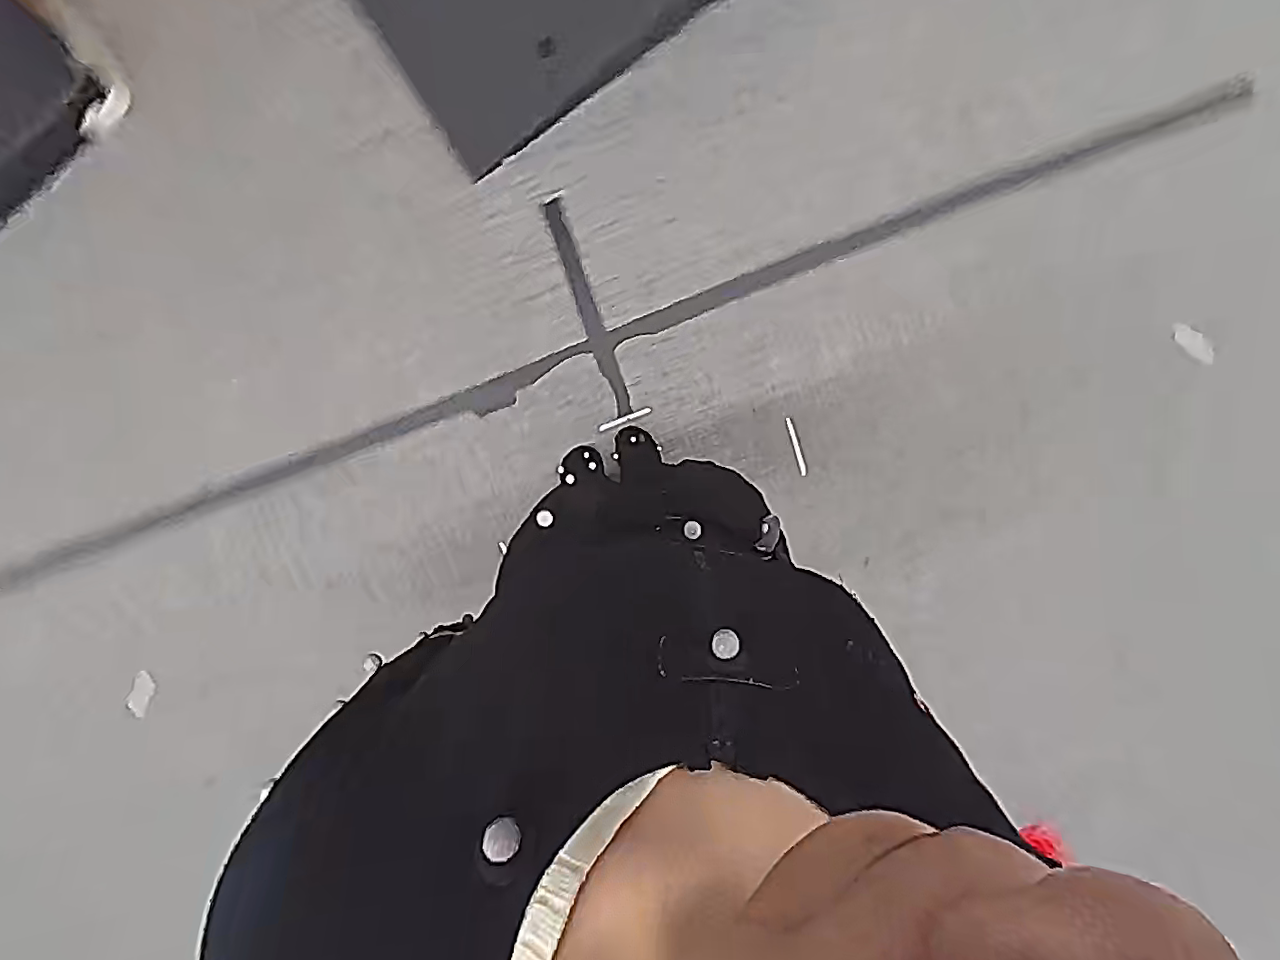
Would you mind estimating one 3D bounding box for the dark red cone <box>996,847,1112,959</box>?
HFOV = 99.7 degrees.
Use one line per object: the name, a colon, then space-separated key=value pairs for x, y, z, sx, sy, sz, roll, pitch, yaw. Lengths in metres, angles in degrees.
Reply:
dark red cone: x=1.163 y=1.212 z=1.428 sx=0.201 sy=0.394 sz=0.202 roll=-26 pitch=100 yaw=5
